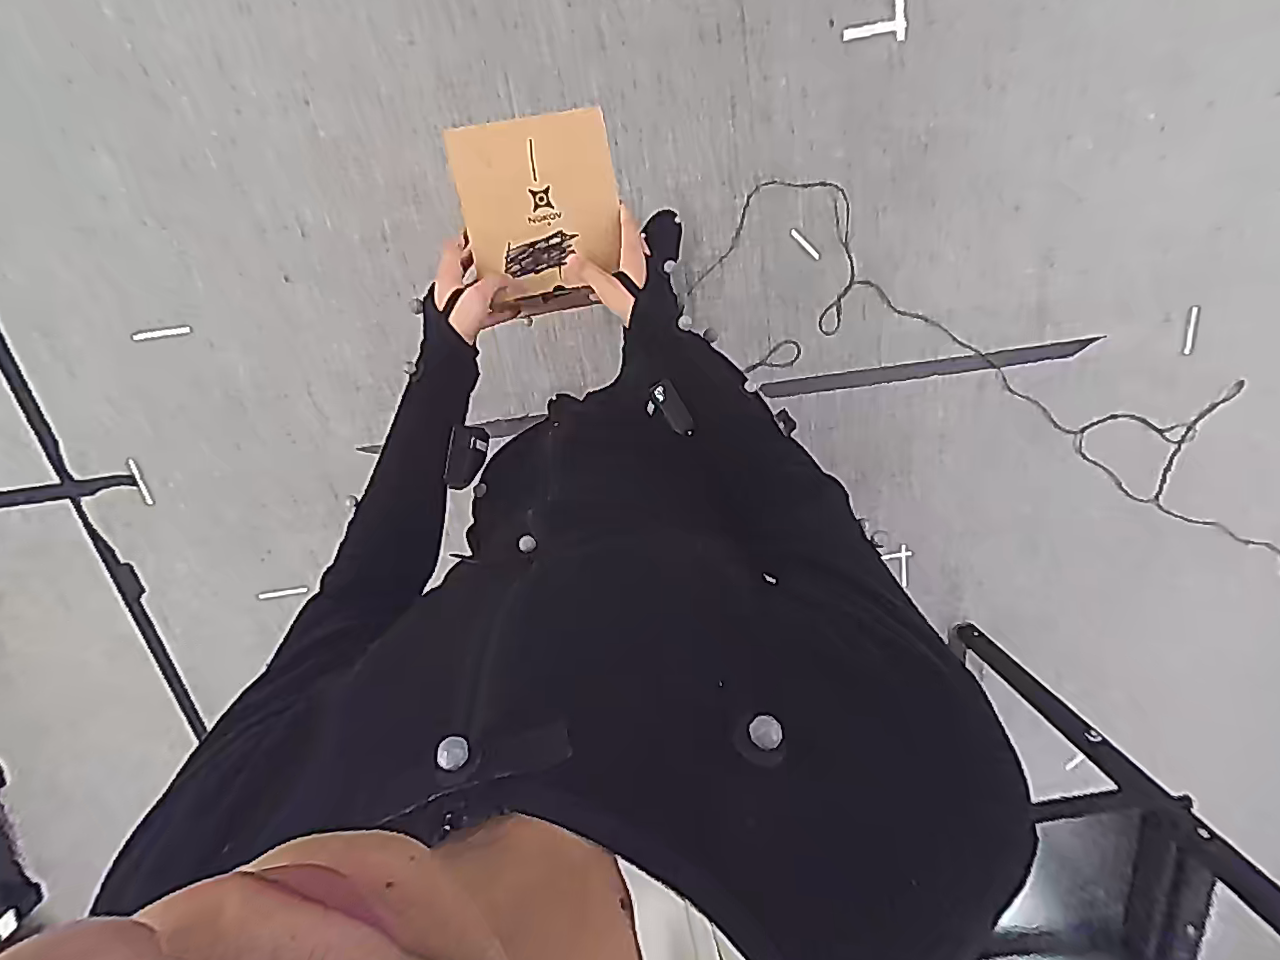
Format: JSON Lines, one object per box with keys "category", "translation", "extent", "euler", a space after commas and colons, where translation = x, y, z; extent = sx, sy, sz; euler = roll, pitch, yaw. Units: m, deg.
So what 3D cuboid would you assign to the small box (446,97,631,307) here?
{"category": "small box", "translation": [-0.109, -0.309, 0.642], "extent": [0.168, 0.176, 0.179], "euler": [-12, 102, -4]}
